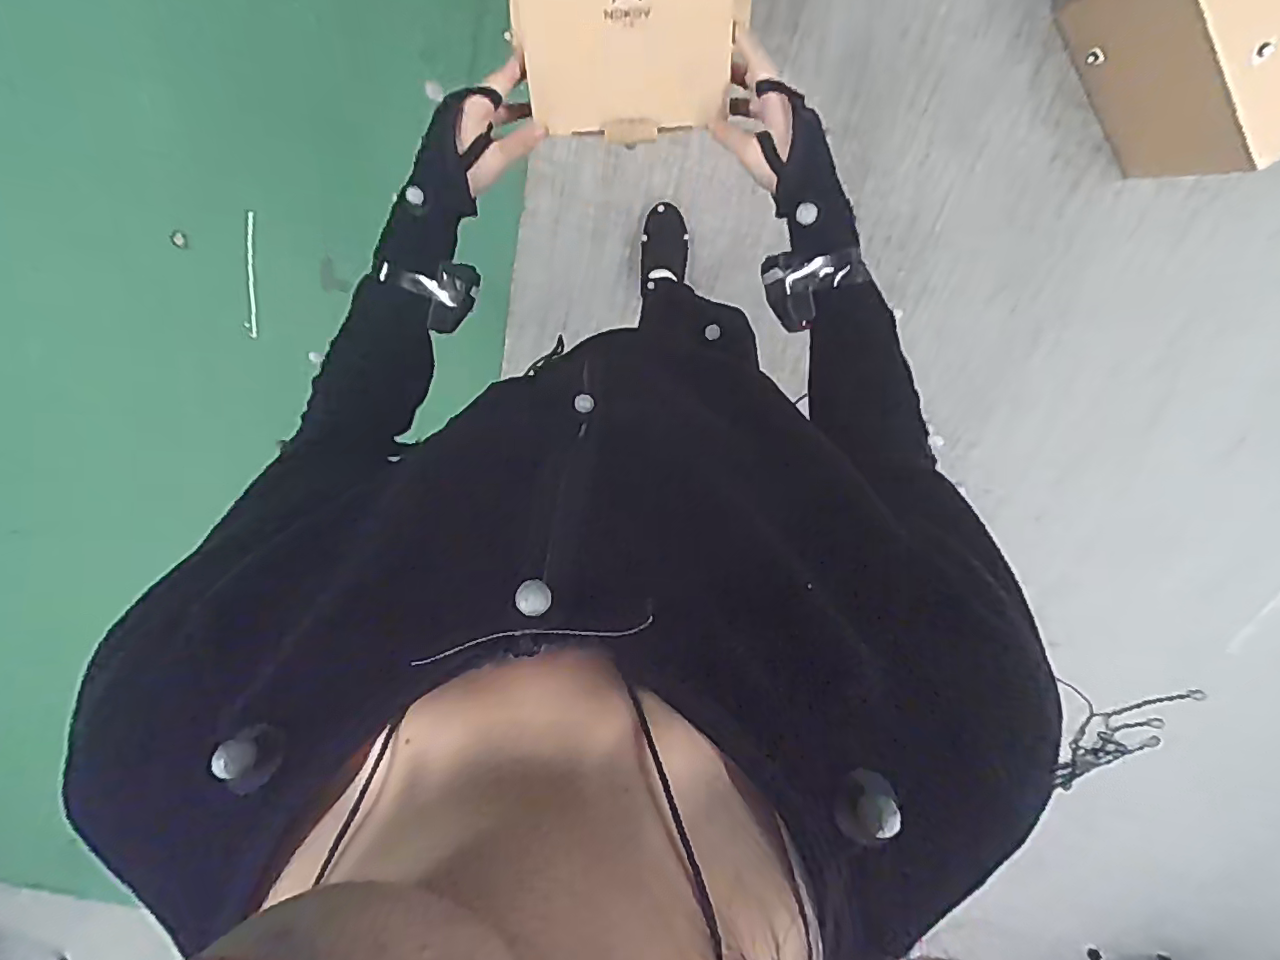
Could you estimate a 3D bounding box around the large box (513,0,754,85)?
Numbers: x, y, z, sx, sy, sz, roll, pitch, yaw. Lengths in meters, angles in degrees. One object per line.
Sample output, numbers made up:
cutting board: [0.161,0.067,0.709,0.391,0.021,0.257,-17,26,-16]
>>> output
large box: [-0.003,-0.928,0.985,0.408,0.320,0.320,2,115,3]

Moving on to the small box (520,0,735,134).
small box: [-0.010,-0.414,0.468,0.168,0.176,0.179,-3,126,0]
